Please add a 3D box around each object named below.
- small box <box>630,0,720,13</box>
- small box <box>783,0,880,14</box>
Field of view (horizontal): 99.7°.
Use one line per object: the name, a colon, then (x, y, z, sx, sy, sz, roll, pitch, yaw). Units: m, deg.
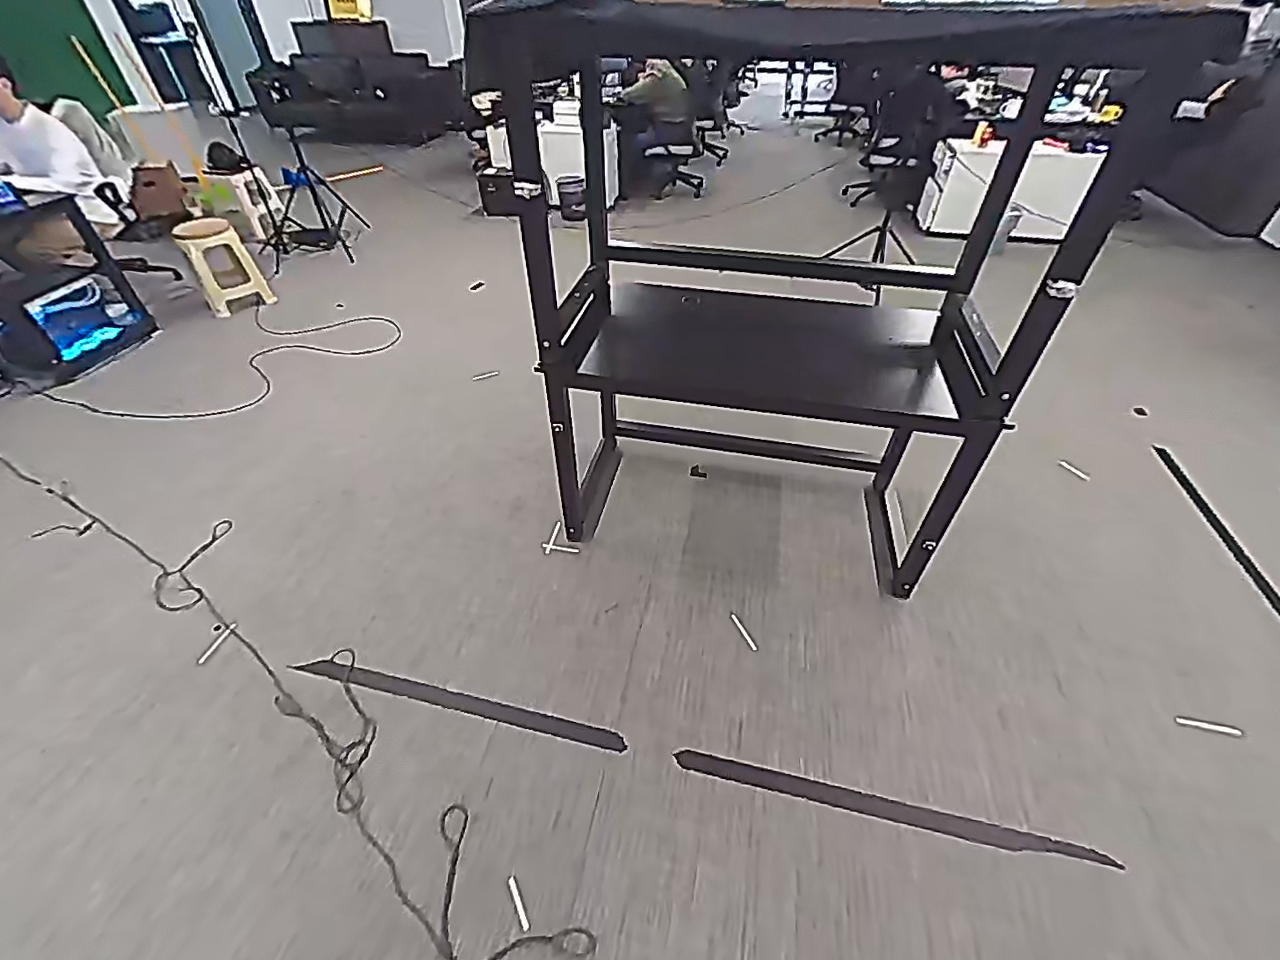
small box: (0.067, -0.964, 0.981, 0.168, 0.176, 0.179, 2, 41, 3)
small box: (0.350, -0.939, 0.953, 0.168, 0.176, 0.179, 8, 41, 9)
